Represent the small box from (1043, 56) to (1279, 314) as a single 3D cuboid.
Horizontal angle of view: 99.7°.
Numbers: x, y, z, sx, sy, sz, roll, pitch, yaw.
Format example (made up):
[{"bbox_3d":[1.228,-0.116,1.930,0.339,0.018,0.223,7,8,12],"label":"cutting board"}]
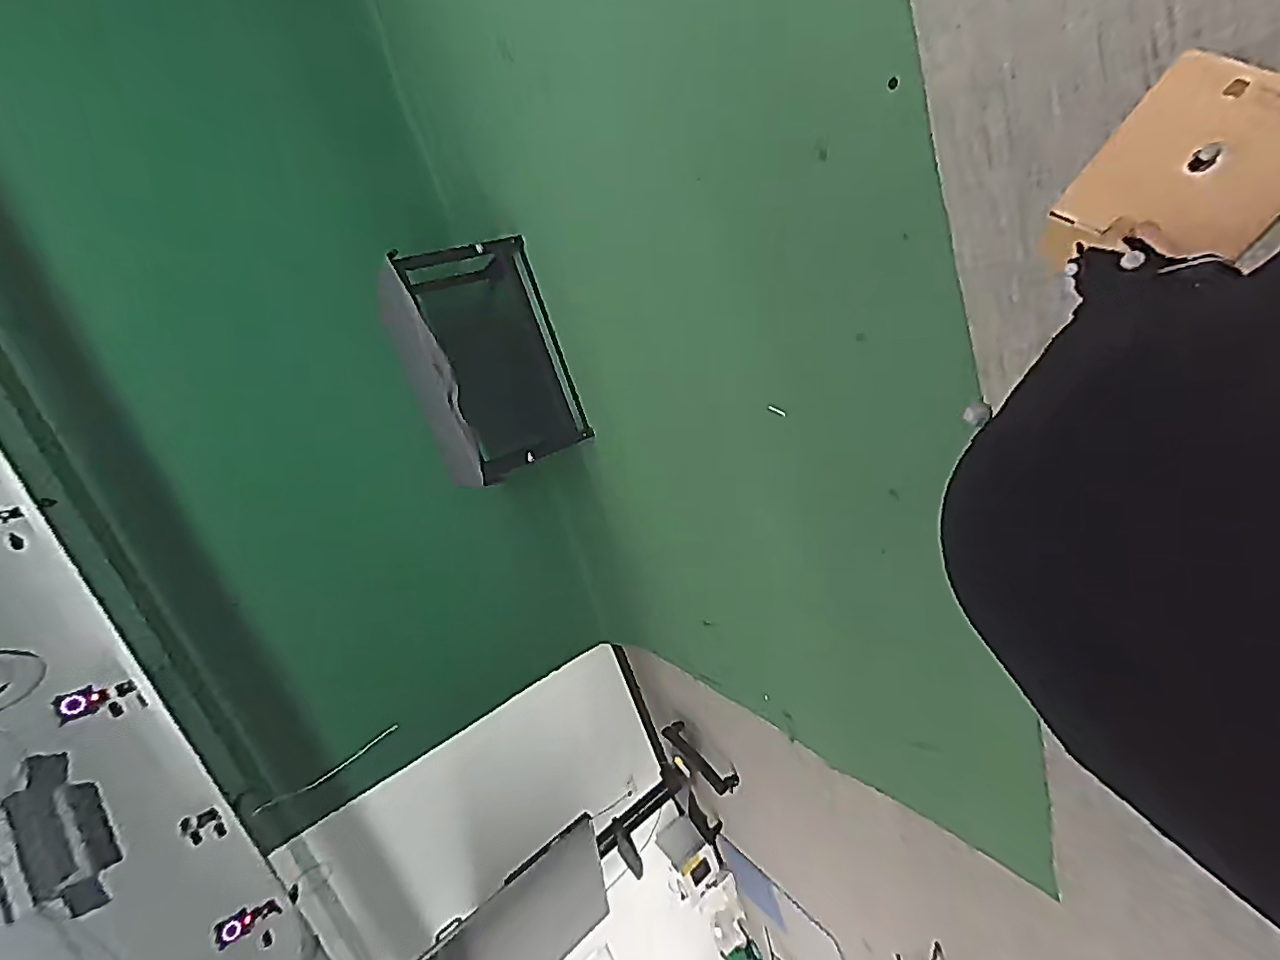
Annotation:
[{"bbox_3d":[0.587,-0.312,0.590,0.168,0.179,0.176,42,114,26],"label":"small box"}]
